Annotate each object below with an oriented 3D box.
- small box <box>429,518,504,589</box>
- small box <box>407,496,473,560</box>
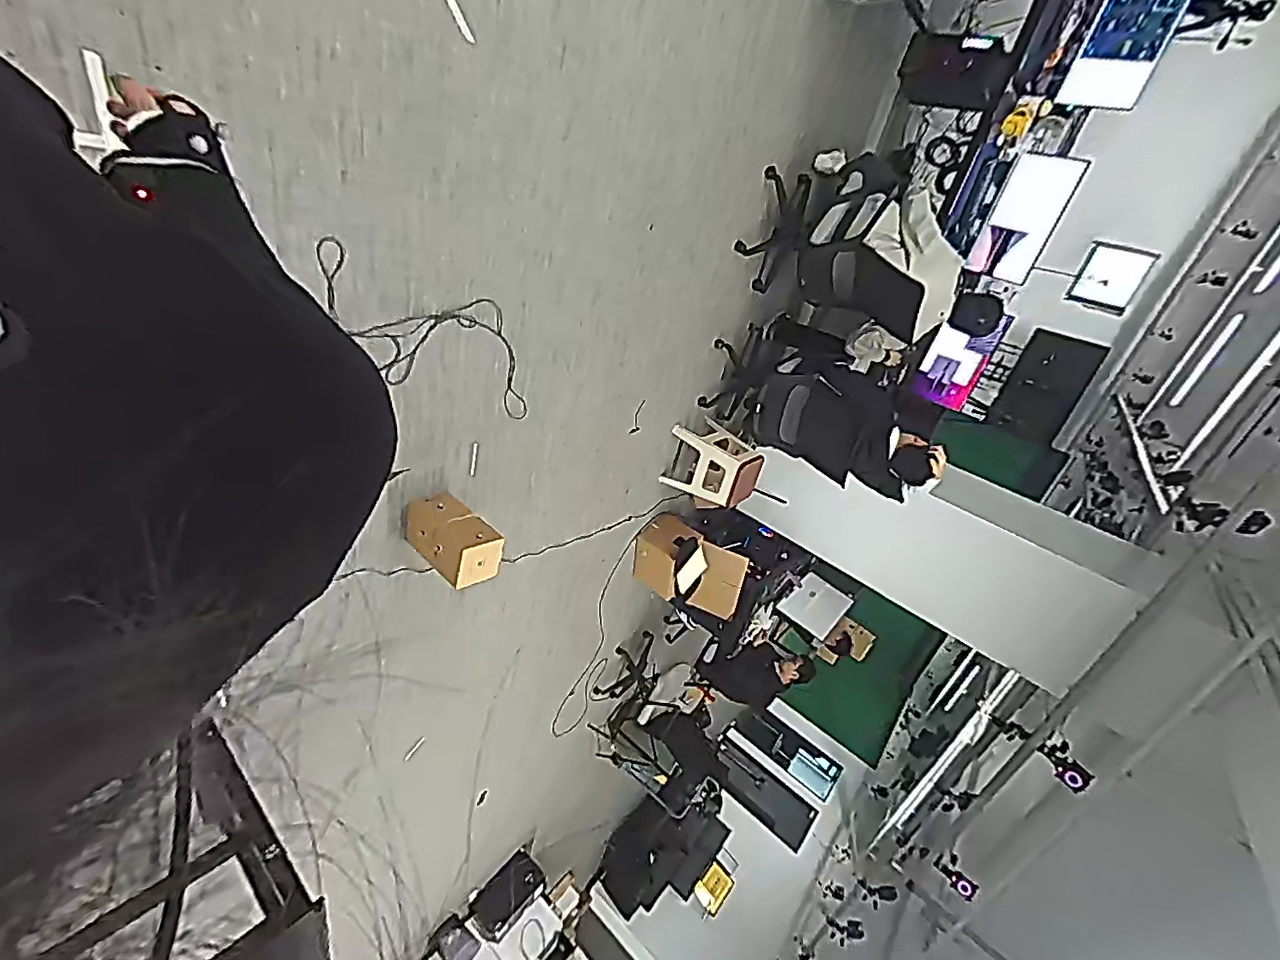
[{"bbox_3d":[-0.612,0.250,1.907,0.179,0.176,0.168,-14,128,-51],"label":"small box"},{"bbox_3d":[-0.736,0.173,1.981,0.168,0.176,0.179,-20,132,-49],"label":"small box"}]
